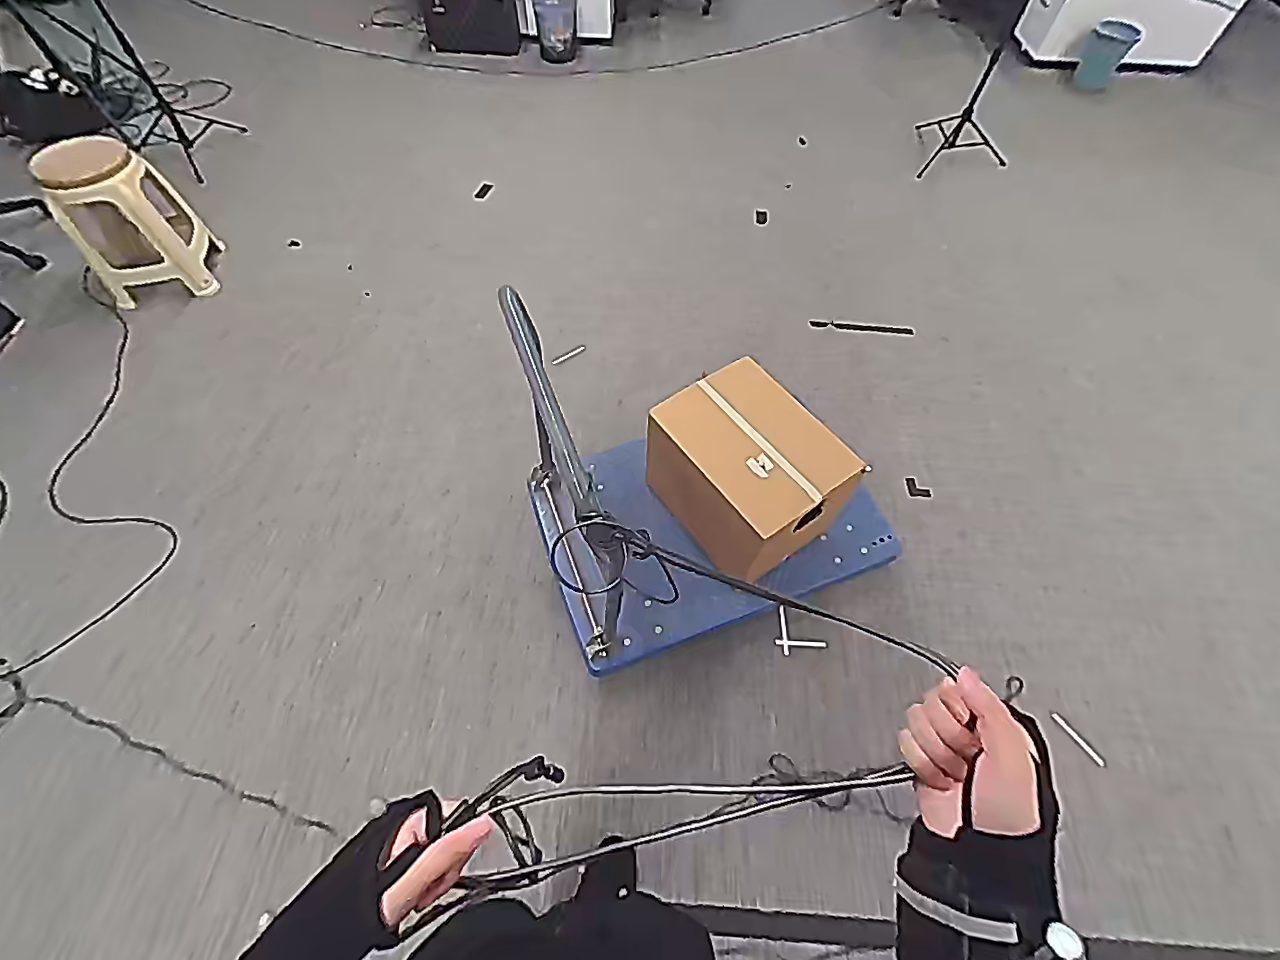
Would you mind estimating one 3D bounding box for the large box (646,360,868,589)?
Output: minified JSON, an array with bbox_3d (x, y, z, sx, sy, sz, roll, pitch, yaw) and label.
[{"bbox_3d":[0.256,-0.012,1.335,0.320,0.320,0.408,-31,65,-18],"label":"large box"}]
